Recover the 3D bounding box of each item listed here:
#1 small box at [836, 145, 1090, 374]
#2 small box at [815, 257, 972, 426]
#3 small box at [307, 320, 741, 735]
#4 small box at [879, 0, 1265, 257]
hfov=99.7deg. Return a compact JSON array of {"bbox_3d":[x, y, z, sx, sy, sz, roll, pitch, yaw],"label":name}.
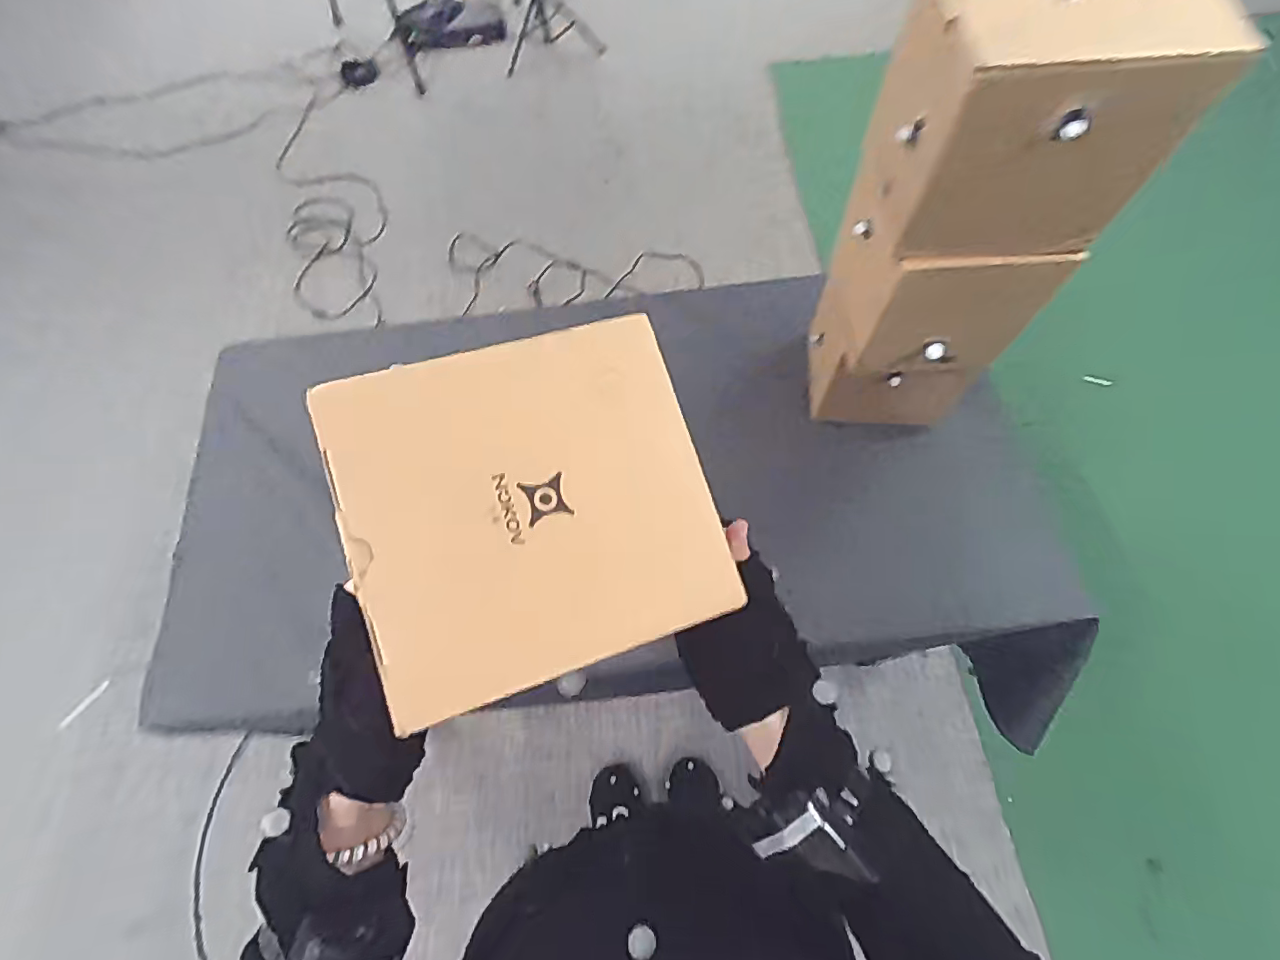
[{"bbox_3d":[0.328,-0.238,0.596,0.168,0.176,0.179,-2,67,4],"label":"small box"},{"bbox_3d":[0.346,-0.188,0.752,0.179,0.176,0.168,4,67,5],"label":"small box"},{"bbox_3d":[-0.068,0.027,0.343,0.179,0.176,0.168,-18,82,-14],"label":"small box"},{"bbox_3d":[0.314,-0.306,0.449,0.179,0.176,0.168,1,67,4],"label":"small box"}]
